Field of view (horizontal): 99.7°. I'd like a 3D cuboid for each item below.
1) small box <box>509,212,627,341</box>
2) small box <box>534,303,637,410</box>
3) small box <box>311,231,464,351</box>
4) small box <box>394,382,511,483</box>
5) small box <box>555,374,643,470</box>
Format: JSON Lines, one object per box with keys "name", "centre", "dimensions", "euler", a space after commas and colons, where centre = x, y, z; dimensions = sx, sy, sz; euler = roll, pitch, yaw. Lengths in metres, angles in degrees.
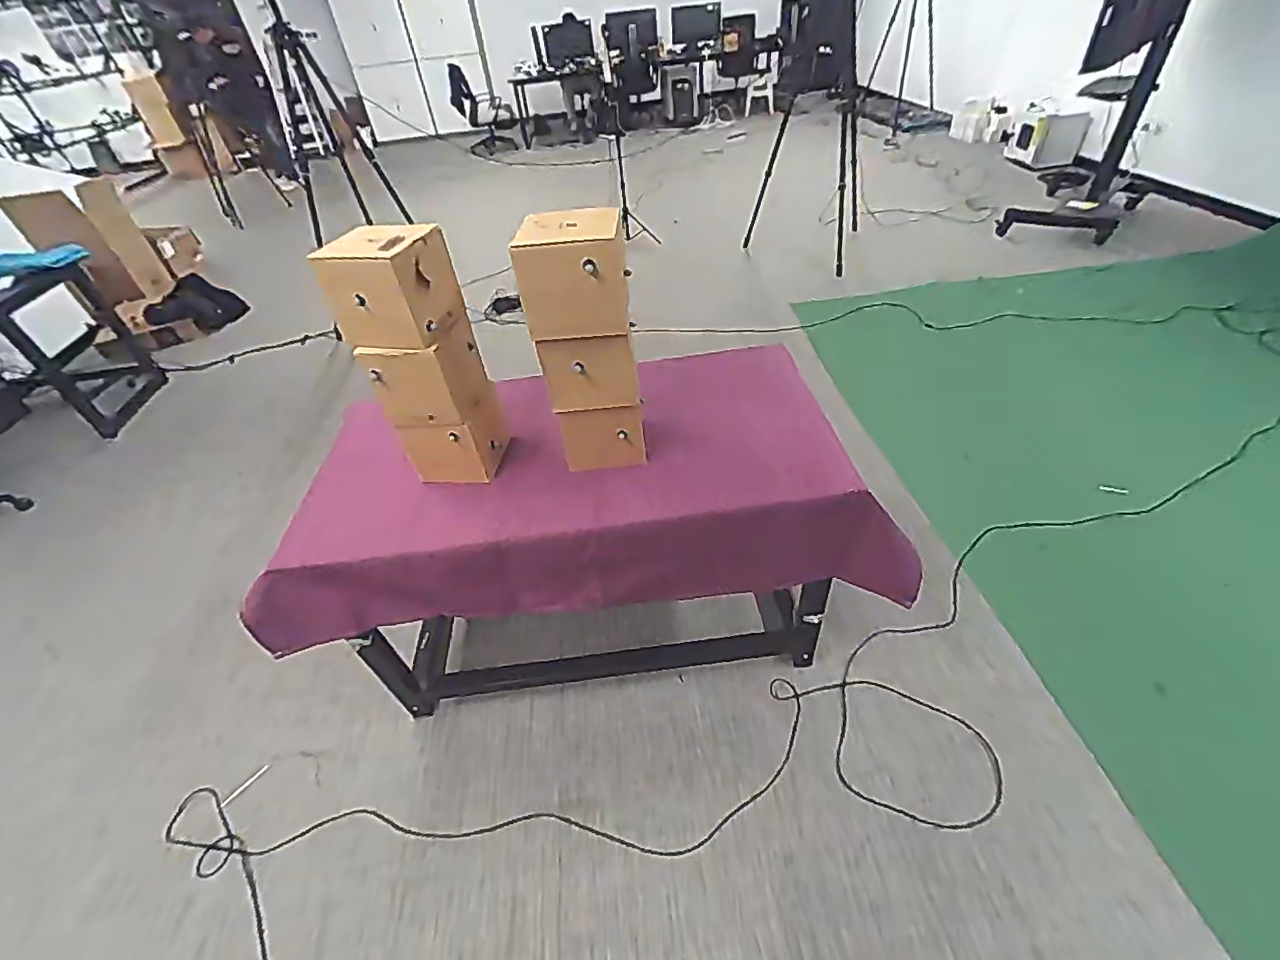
{"name": "small box", "centre": [-0.119, -0.369, 0.988], "dimensions": [0.179, 0.176, 0.168], "euler": [-3, 41, 5]}
{"name": "small box", "centre": [-0.104, -0.257, 1.109], "dimensions": [0.179, 0.176, 0.168], "euler": [-6, 42, 3]}
{"name": "small box", "centre": [-0.464, -0.358, 1.028], "dimensions": [0.179, 0.176, 0.168], "euler": [4, 42, 14]}
{"name": "small box", "centre": [-0.417, -0.106, 1.236], "dimensions": [0.179, 0.176, 0.168], "euler": [0, 43, 8]}
{"name": "small box", "centre": [-0.086, -0.142, 1.224], "dimensions": [0.179, 0.176, 0.168], "euler": [-7, 41, 2]}
